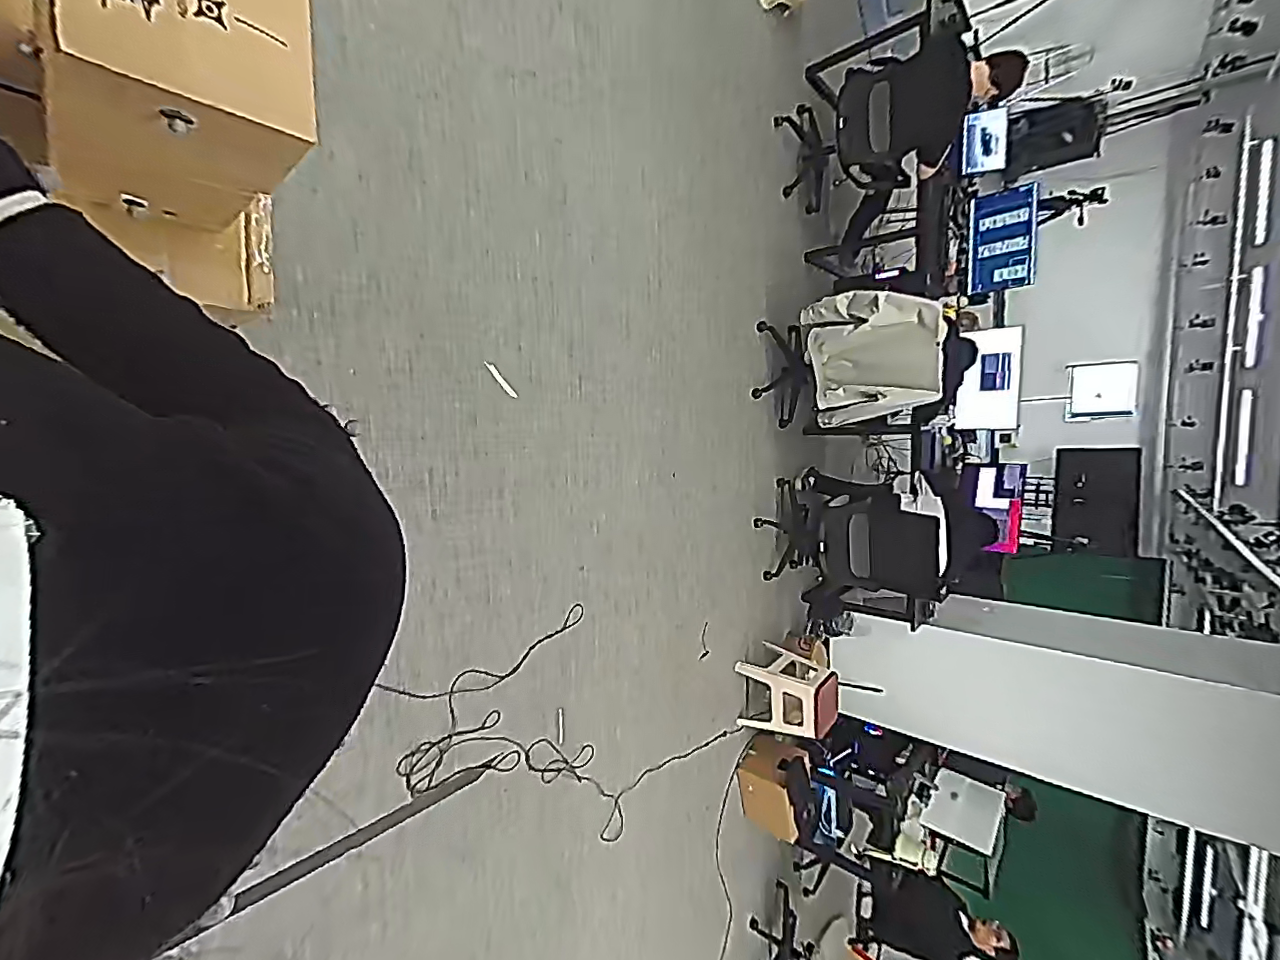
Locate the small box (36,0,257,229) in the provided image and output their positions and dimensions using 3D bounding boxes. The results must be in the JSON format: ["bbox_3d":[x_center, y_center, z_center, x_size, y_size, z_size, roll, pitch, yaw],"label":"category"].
[{"bbox_3d":[-0.562,-0.415,0.618,0.168,0.176,0.179,-6,98,-47],"label":"small box"}]

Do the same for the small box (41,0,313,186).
[{"bbox_3d":[-0.436,-0.407,0.511,0.179,0.176,0.168,-5,97,-49],"label":"small box"}]
